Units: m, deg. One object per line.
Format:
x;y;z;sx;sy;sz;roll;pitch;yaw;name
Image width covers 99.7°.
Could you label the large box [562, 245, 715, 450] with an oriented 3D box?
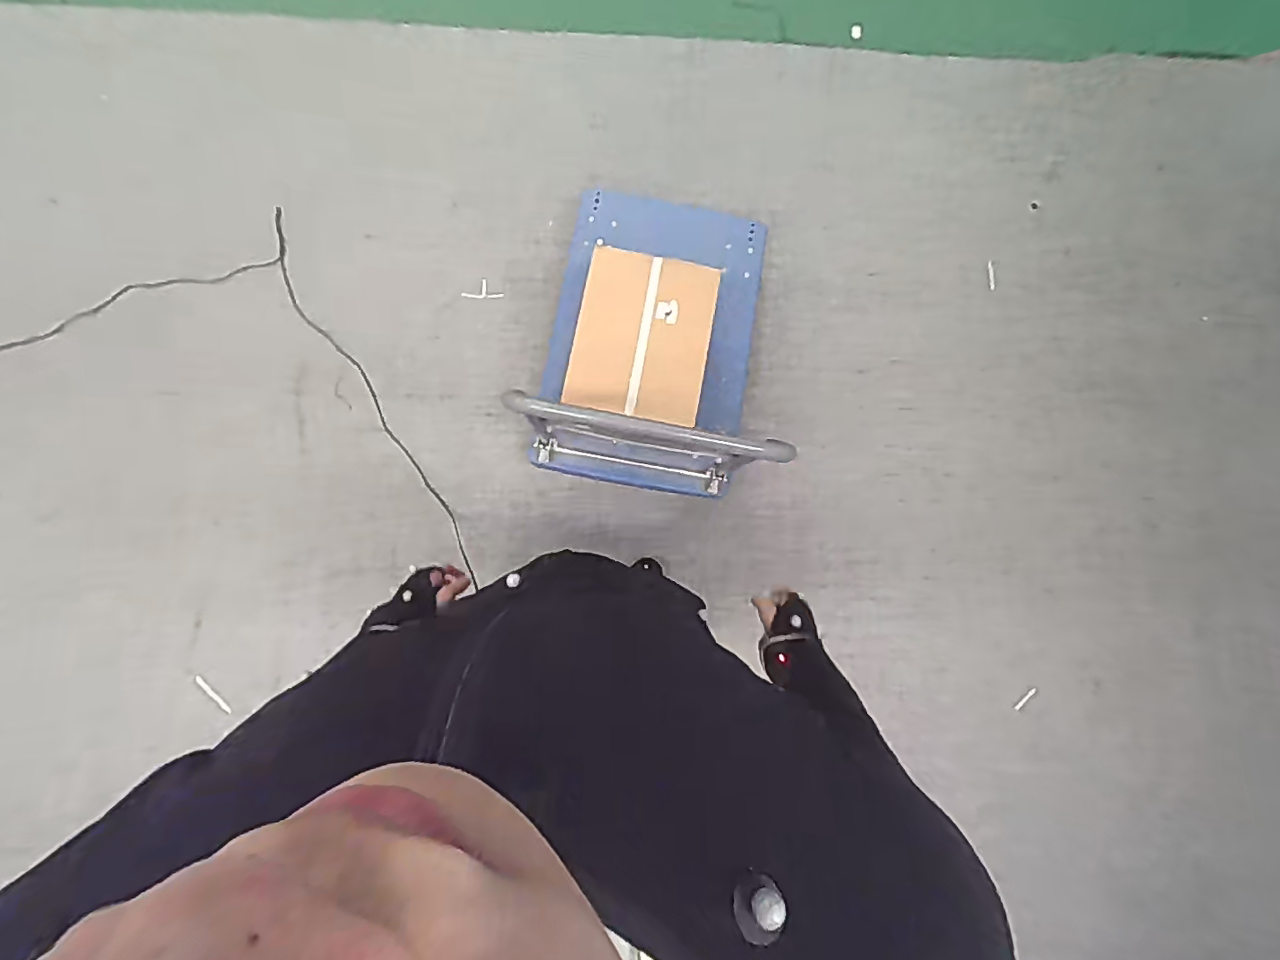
-0.007;-0.323;1.417;0.320;0.320;0.408;11;80;-3;large box
